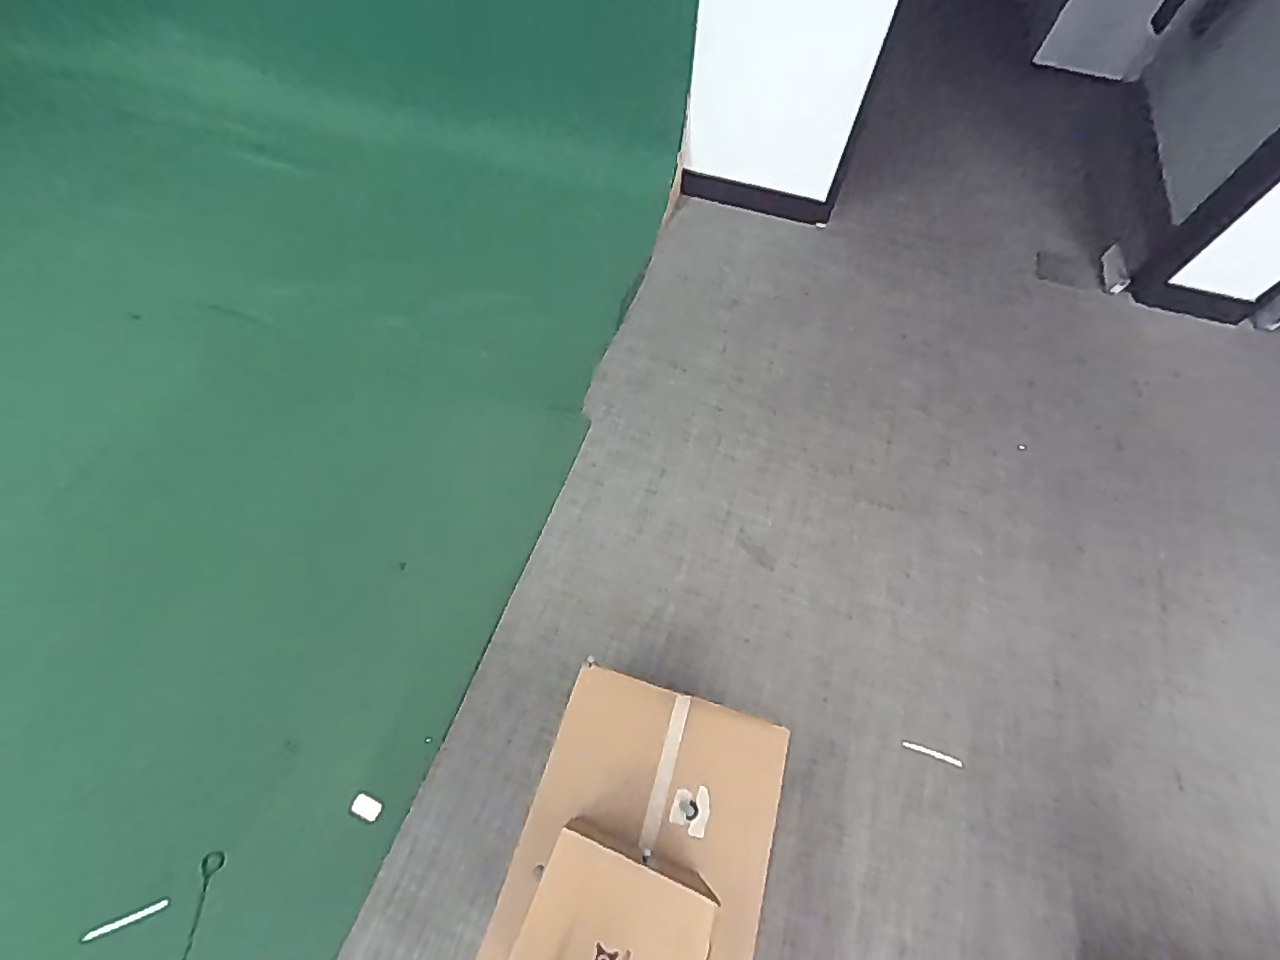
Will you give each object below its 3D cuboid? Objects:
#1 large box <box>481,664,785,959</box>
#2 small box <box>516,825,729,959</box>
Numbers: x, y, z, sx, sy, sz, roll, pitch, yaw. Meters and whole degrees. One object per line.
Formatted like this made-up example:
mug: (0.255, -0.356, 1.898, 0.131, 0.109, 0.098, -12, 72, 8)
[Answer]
large box: (0.003, 0.550, 0.819, 0.320, 0.320, 0.408, 16, 62, 7)
small box: (-0.026, 0.489, 0.571, 0.179, 0.176, 0.168, 20, 62, 10)
